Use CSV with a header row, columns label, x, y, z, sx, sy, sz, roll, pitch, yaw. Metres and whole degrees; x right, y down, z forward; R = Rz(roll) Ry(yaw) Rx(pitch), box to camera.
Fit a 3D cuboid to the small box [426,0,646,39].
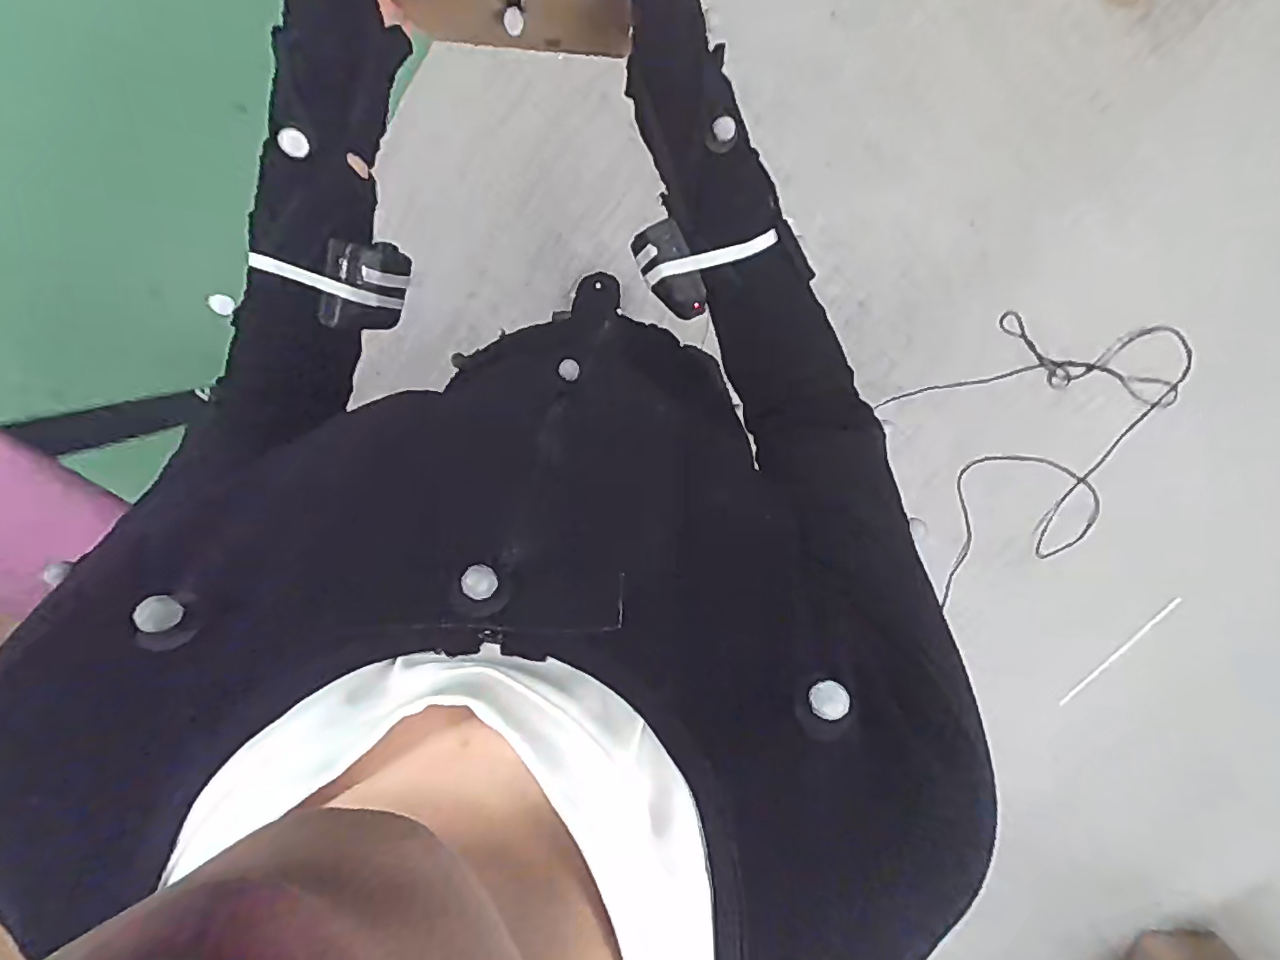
label,x,y,z,sx,sy,sz,roll,pitch,yaw
small box,-0.074,-0.406,0.330,0.168,0.176,0.179,0,110,-2
